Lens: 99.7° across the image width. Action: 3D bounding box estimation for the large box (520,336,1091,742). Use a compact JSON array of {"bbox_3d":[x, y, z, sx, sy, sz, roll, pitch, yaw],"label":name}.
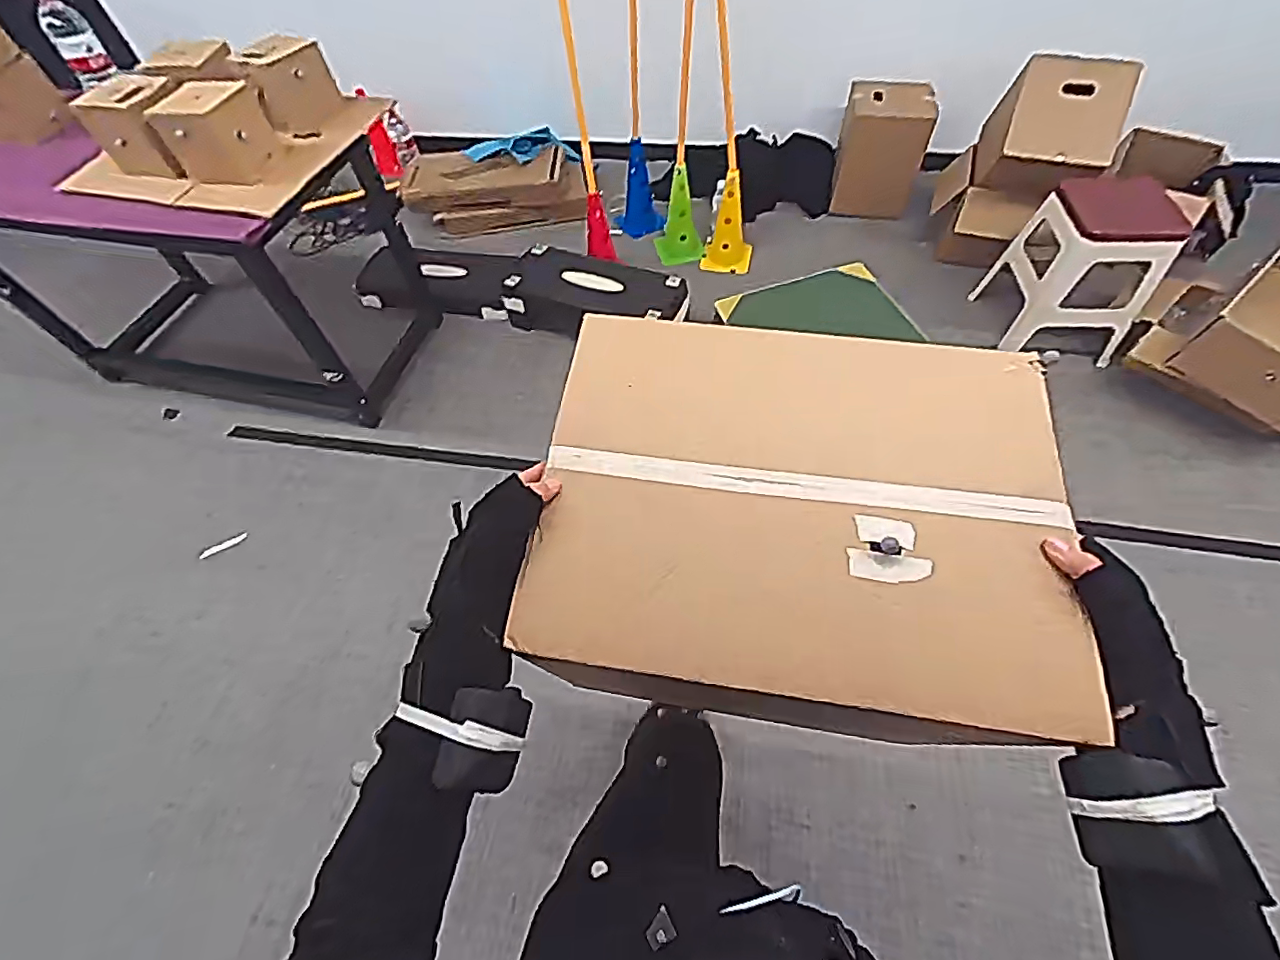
[{"bbox_3d":[0.131,0.081,0.574,0.408,0.320,0.320,7,65,6],"label":"large box"}]
